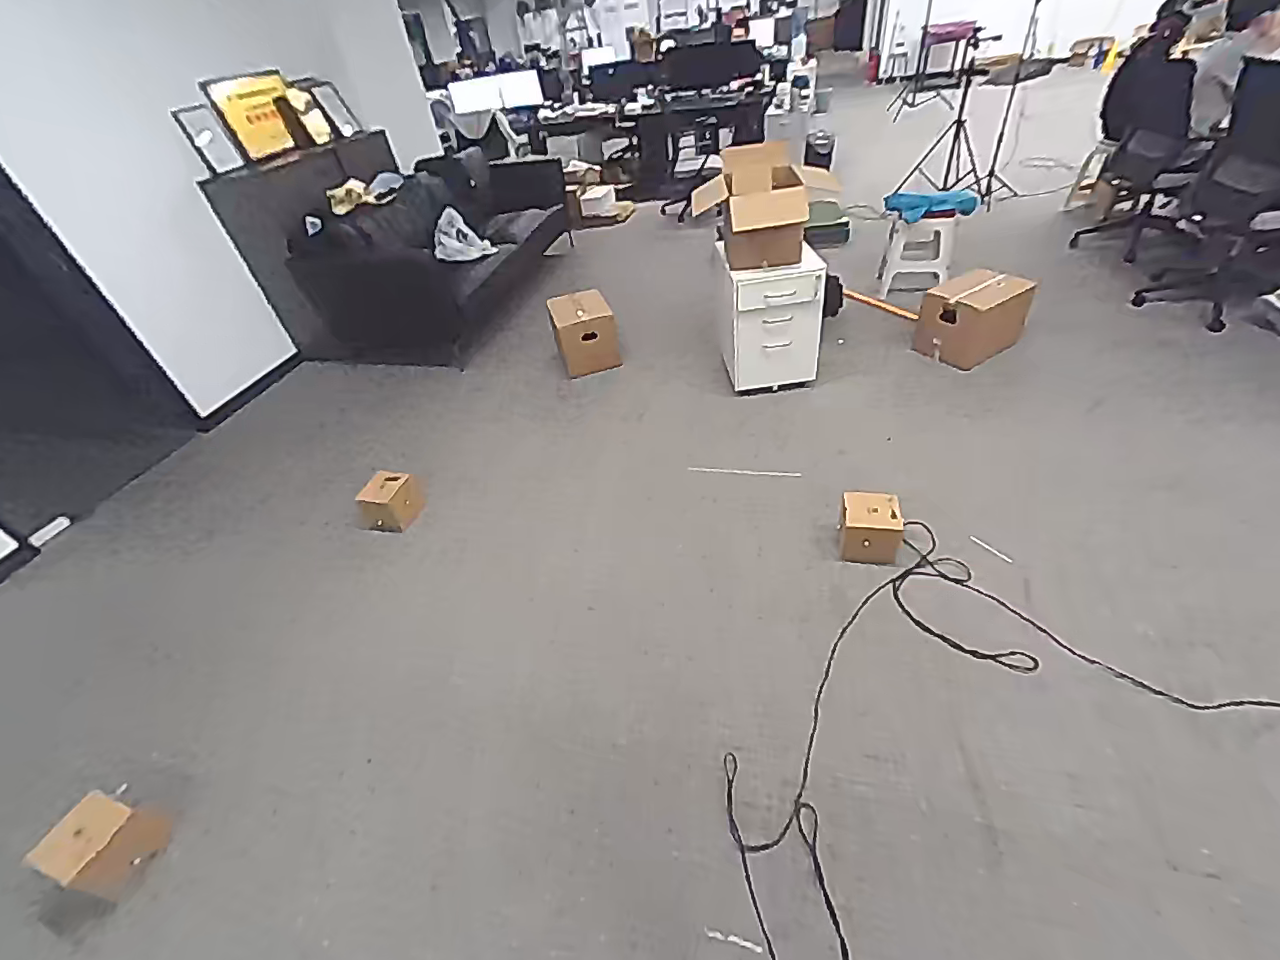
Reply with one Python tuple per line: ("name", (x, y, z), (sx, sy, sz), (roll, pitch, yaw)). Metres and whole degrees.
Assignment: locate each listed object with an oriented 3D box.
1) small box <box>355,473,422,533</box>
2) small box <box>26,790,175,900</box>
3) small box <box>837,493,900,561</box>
("small box", (-1.052, 0.097, 2.284), (0.168, 0.176, 0.179), (5, 43, 16))
("small box", (-1.356, 0.927, 1.371), (0.179, 0.176, 0.168), (8, 44, 20))
("small box", (0.771, 0.161, 1.843), (0.179, 0.176, 0.168), (2, 42, 14))
